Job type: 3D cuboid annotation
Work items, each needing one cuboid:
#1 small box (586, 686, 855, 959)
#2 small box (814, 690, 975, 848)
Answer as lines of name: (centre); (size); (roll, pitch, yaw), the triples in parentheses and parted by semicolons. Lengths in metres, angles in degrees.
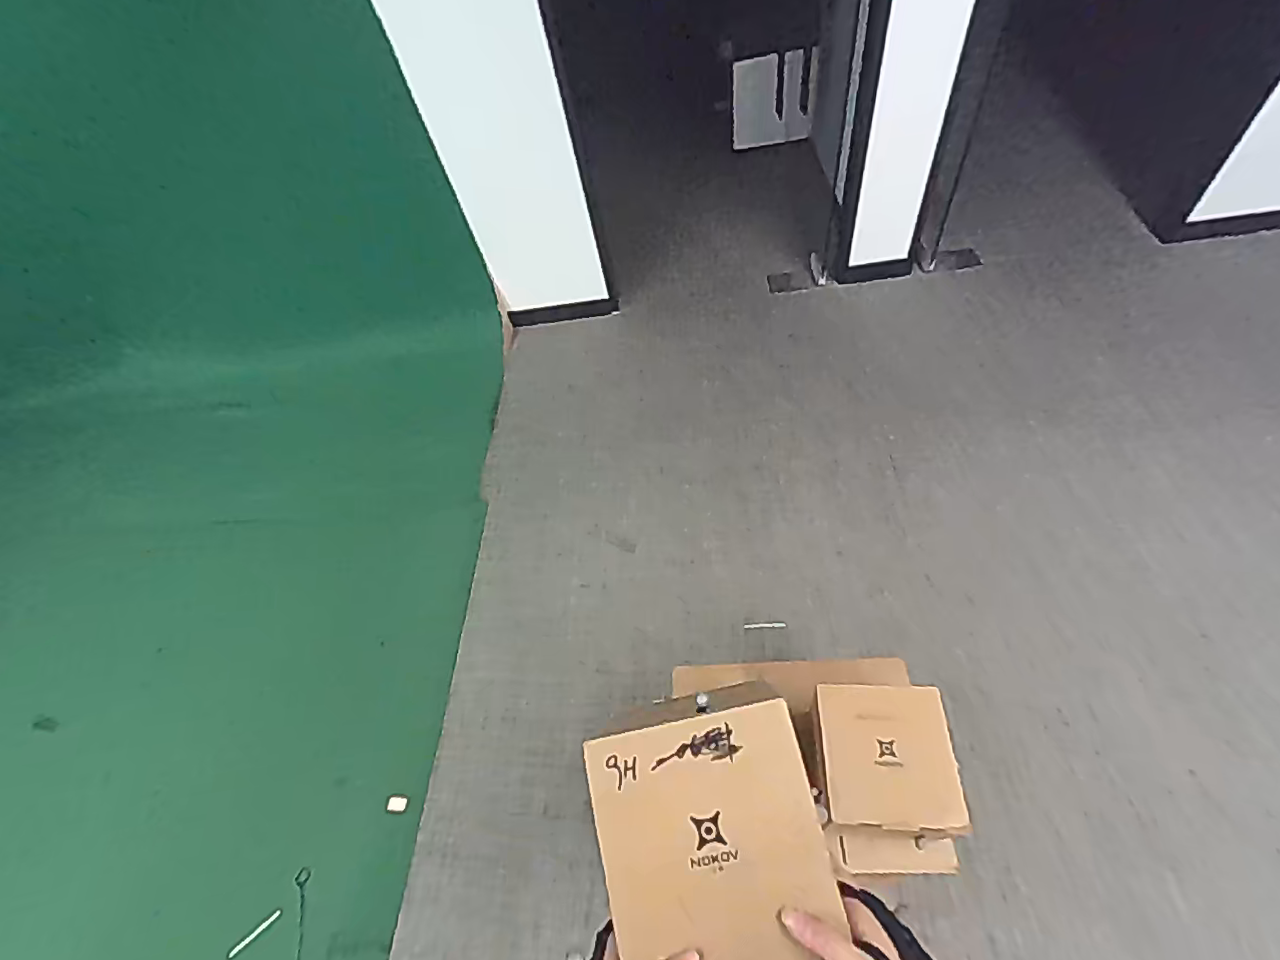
small box: (0.065, 0.294, 0.476); (0.168, 0.176, 0.179); (-15, 72, 4)
small box: (0.346, 0.415, 0.774); (0.168, 0.176, 0.179); (-3, 52, 11)
